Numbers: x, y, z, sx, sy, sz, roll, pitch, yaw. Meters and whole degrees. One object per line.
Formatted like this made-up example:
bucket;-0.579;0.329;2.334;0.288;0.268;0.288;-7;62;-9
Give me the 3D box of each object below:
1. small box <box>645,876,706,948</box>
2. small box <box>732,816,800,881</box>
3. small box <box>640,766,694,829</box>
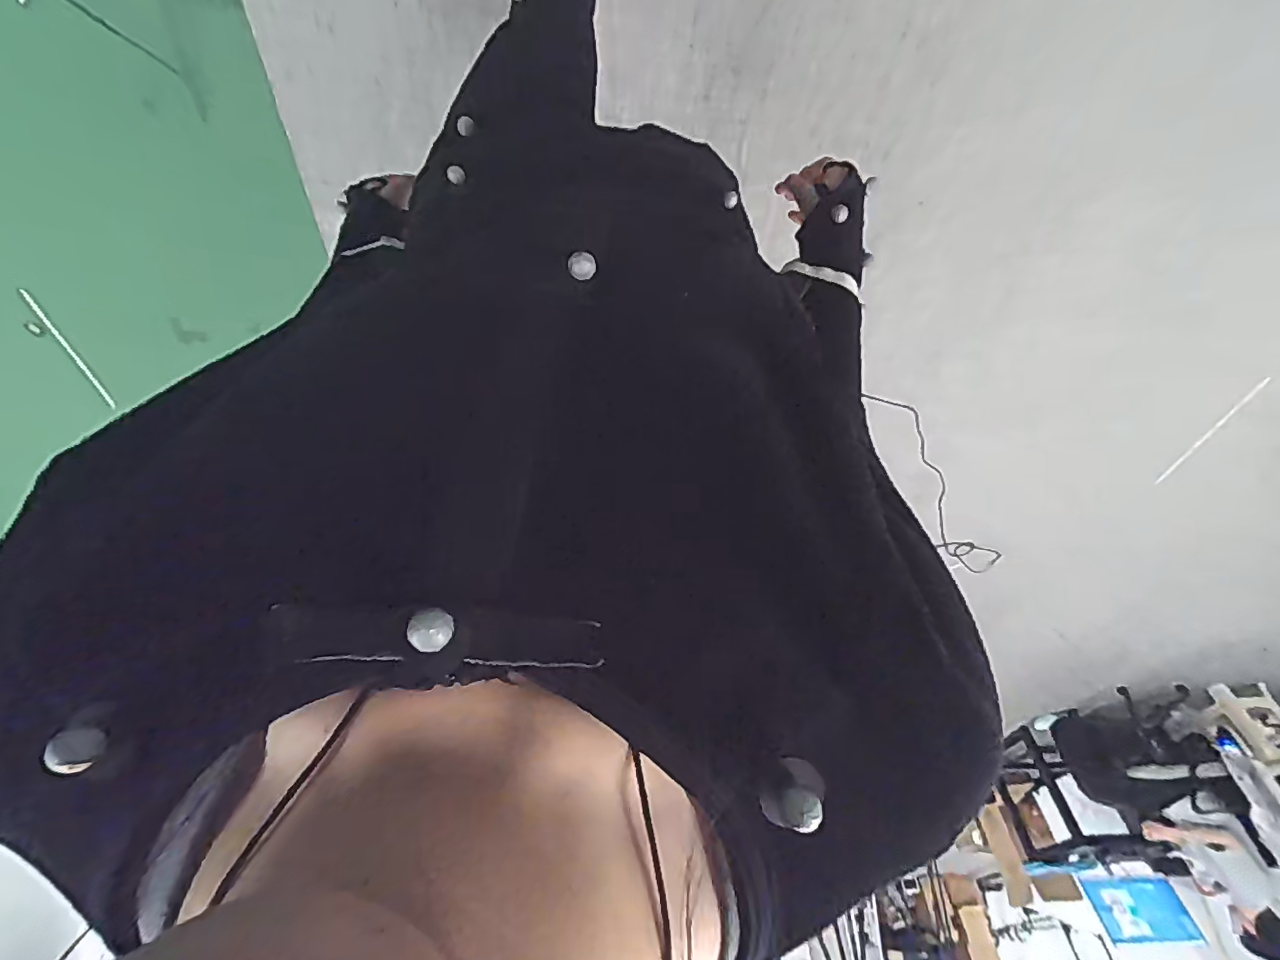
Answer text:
small box;0.109;1.398;1.751;0.168;0.176;0.179;1;136;-6
small box;0.436;1.292;1.897;0.179;0.176;0.168;2;136;-6
small box;0.092;1.162;1.979;0.168;0.176;0.179;3;137;-6
